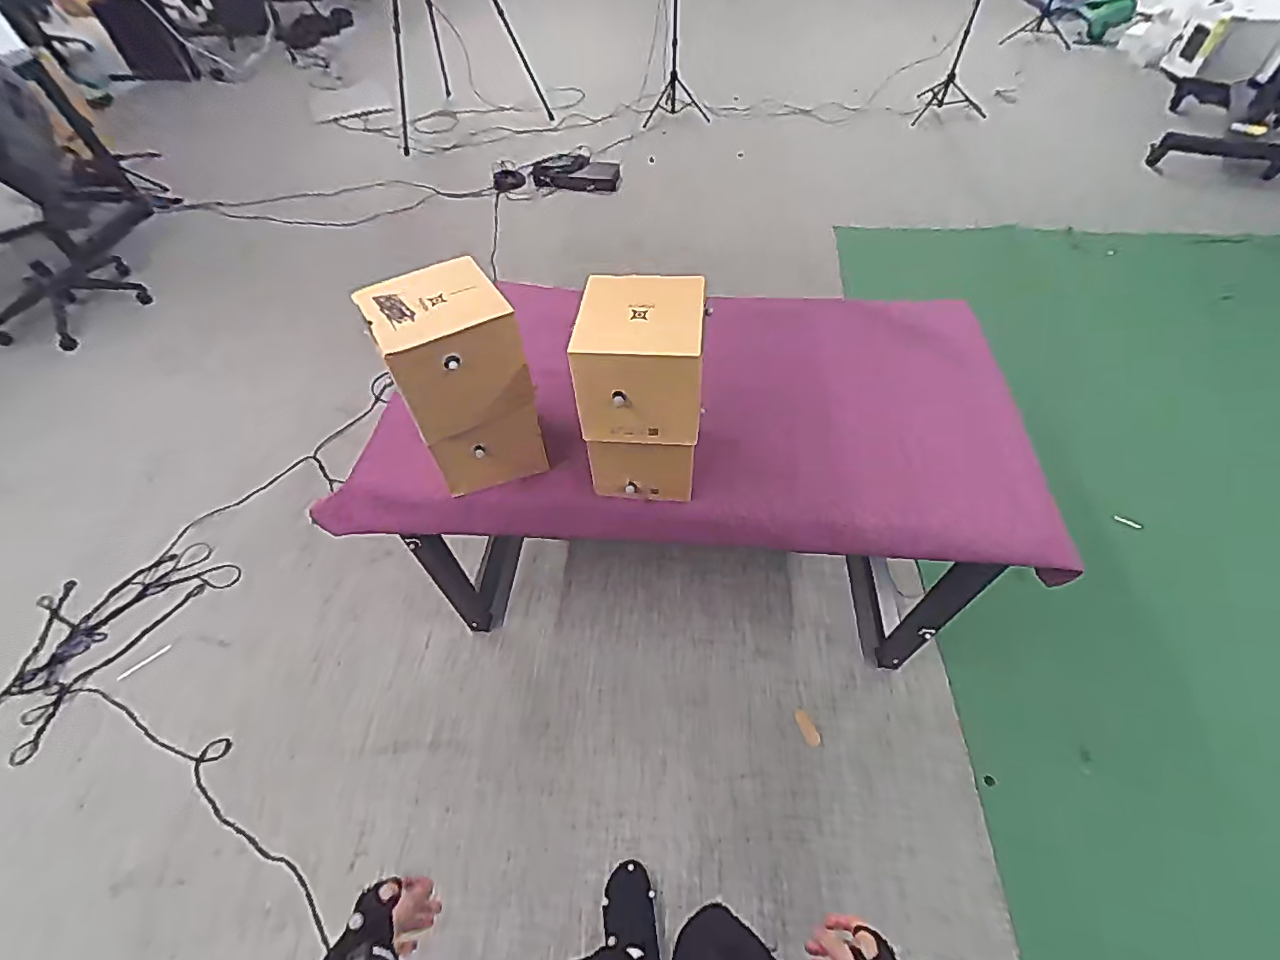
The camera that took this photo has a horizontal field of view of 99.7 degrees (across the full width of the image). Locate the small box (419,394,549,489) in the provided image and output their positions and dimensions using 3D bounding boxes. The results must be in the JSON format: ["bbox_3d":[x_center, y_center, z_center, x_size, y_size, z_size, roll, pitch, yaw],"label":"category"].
[{"bbox_3d":[-0.270,-0.107,0.932,0.179,0.176,0.168,-17,54,-10],"label":"small box"}]

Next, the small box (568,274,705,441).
[{"bbox_3d":[0.005,-0.172,0.771,0.168,0.176,0.179,3,51,6],"label":"small box"}]

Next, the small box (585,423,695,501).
[{"bbox_3d":[0.010,-0.087,0.910,0.168,0.176,0.179,4,53,6],"label":"small box"}]

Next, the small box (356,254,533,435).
[{"bbox_3d":[-0.277,-0.195,0.791,0.179,0.176,0.168,-26,56,-18],"label":"small box"}]
